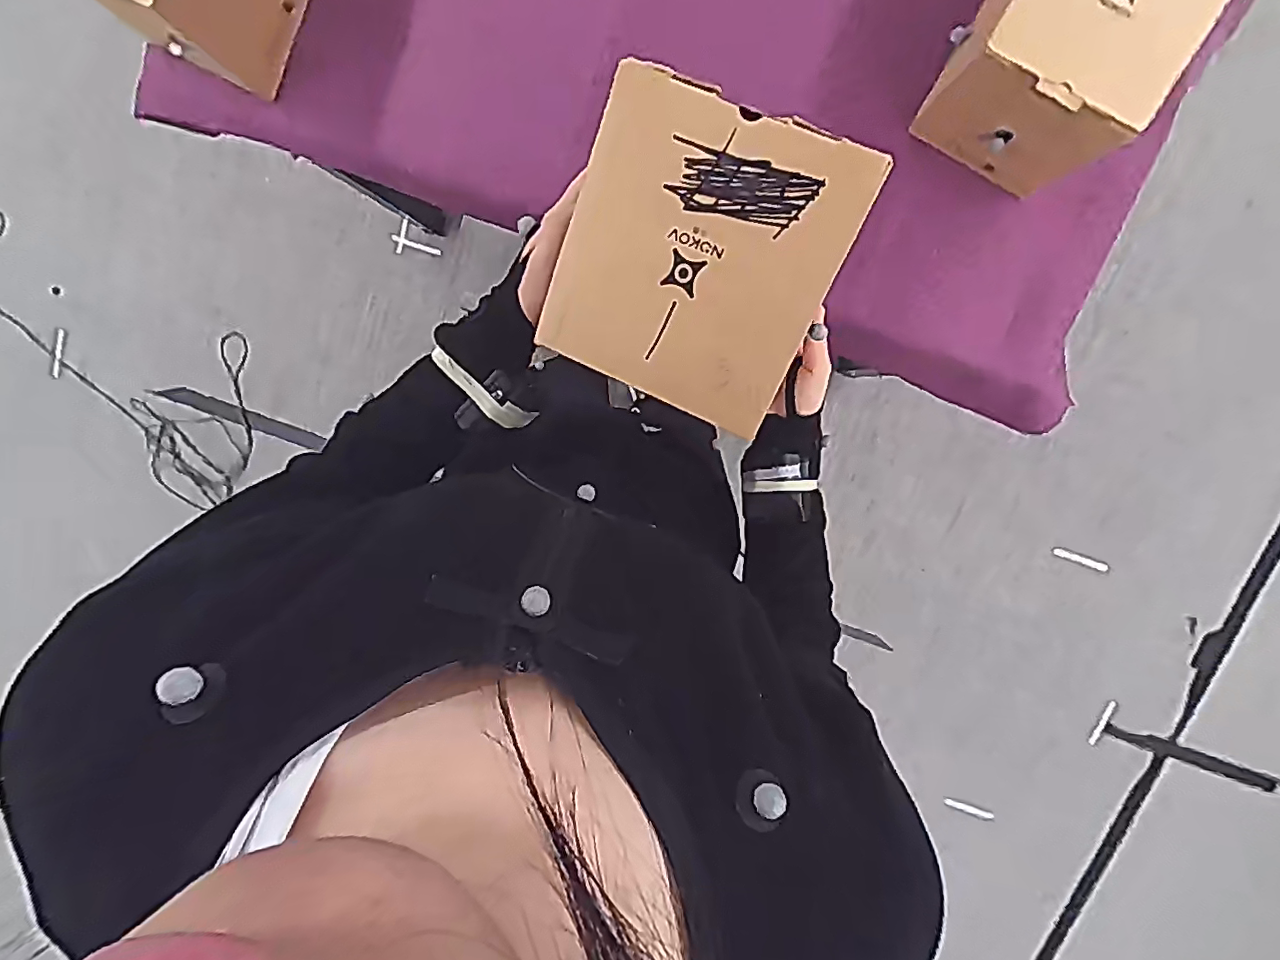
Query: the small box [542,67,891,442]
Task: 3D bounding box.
[{"bbox_3d":[0.055,-0.154,0.411,0.168,0.176,0.179,26,110,7],"label":"small box"}]
